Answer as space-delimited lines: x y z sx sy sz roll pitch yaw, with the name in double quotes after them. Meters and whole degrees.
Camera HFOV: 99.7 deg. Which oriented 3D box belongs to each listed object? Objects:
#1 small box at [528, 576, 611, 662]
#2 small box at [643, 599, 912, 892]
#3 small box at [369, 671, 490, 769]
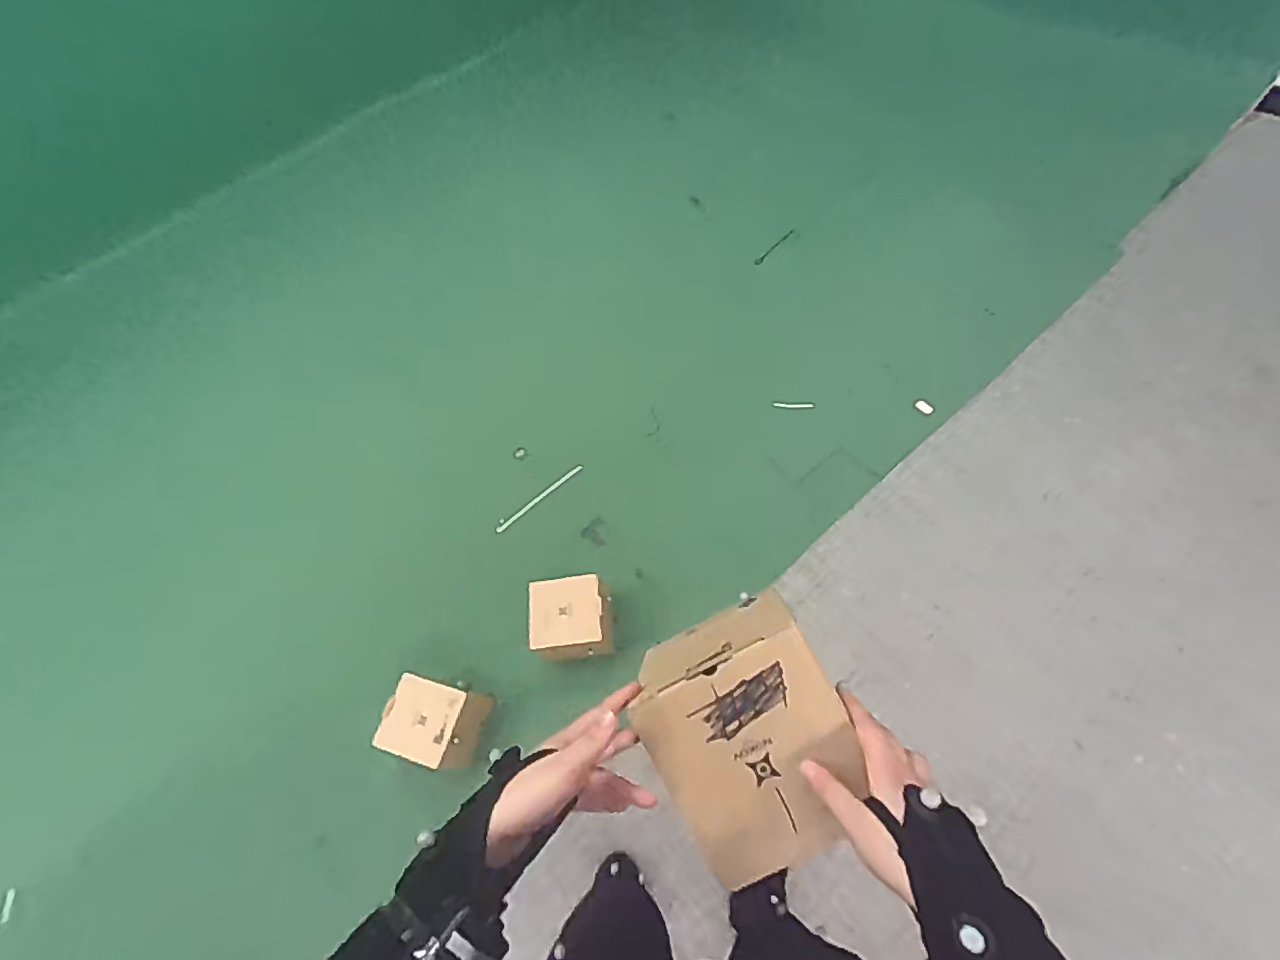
-0.172 0.353 1.357 0.179 0.176 0.168 -9 61 4 "small box"
0.118 0.231 0.526 0.168 0.176 0.179 -29 87 6 "small box"
-0.492 0.575 1.289 0.179 0.176 0.168 12 65 15 "small box"
